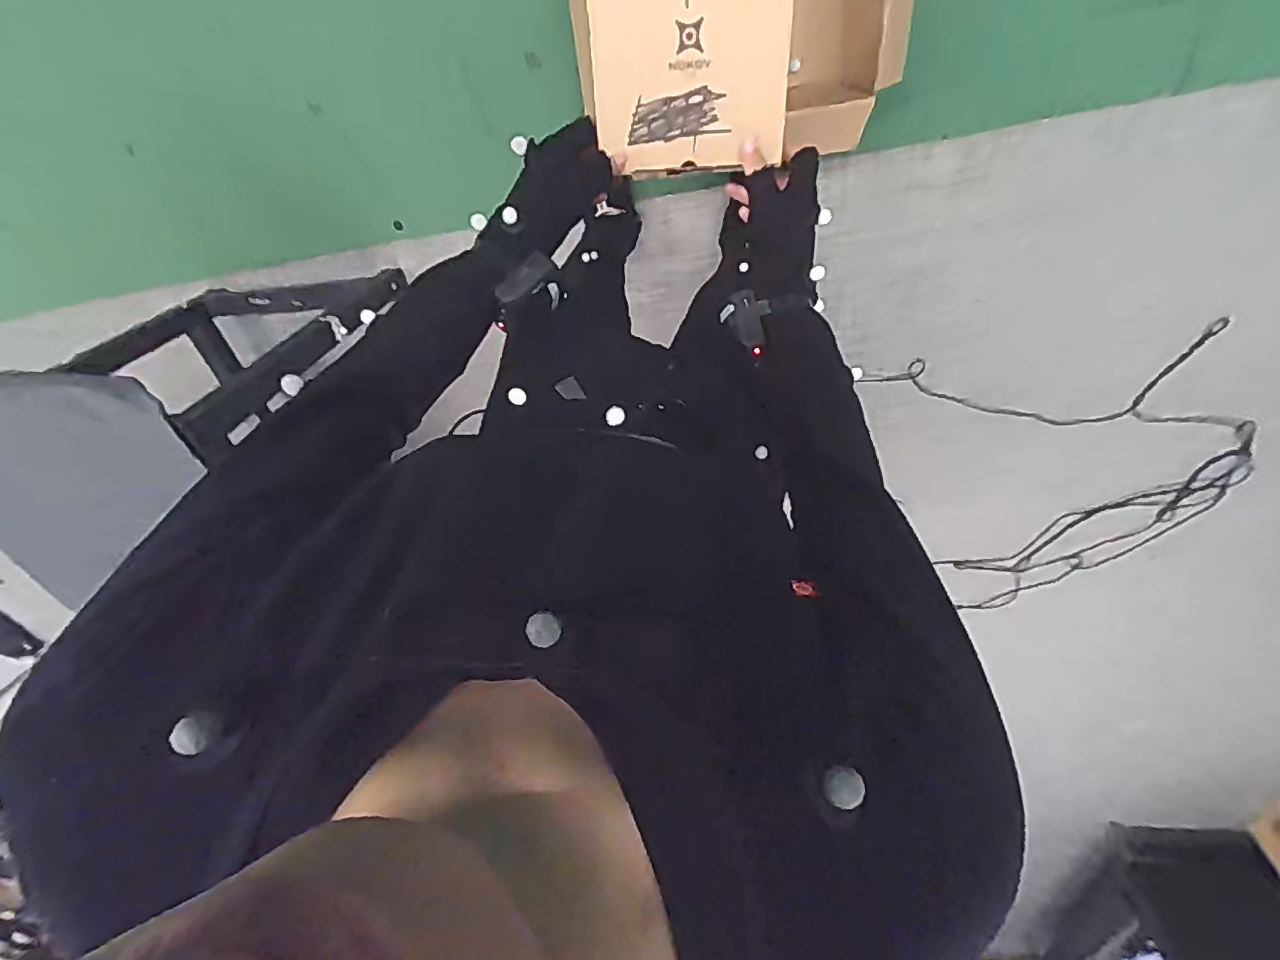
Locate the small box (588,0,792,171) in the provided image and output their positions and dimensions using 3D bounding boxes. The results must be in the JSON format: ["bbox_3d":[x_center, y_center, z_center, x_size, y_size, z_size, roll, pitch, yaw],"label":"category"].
[{"bbox_3d":[0.051,-0.401,0.509,0.168,0.176,0.179,2,123,8],"label":"small box"}]
